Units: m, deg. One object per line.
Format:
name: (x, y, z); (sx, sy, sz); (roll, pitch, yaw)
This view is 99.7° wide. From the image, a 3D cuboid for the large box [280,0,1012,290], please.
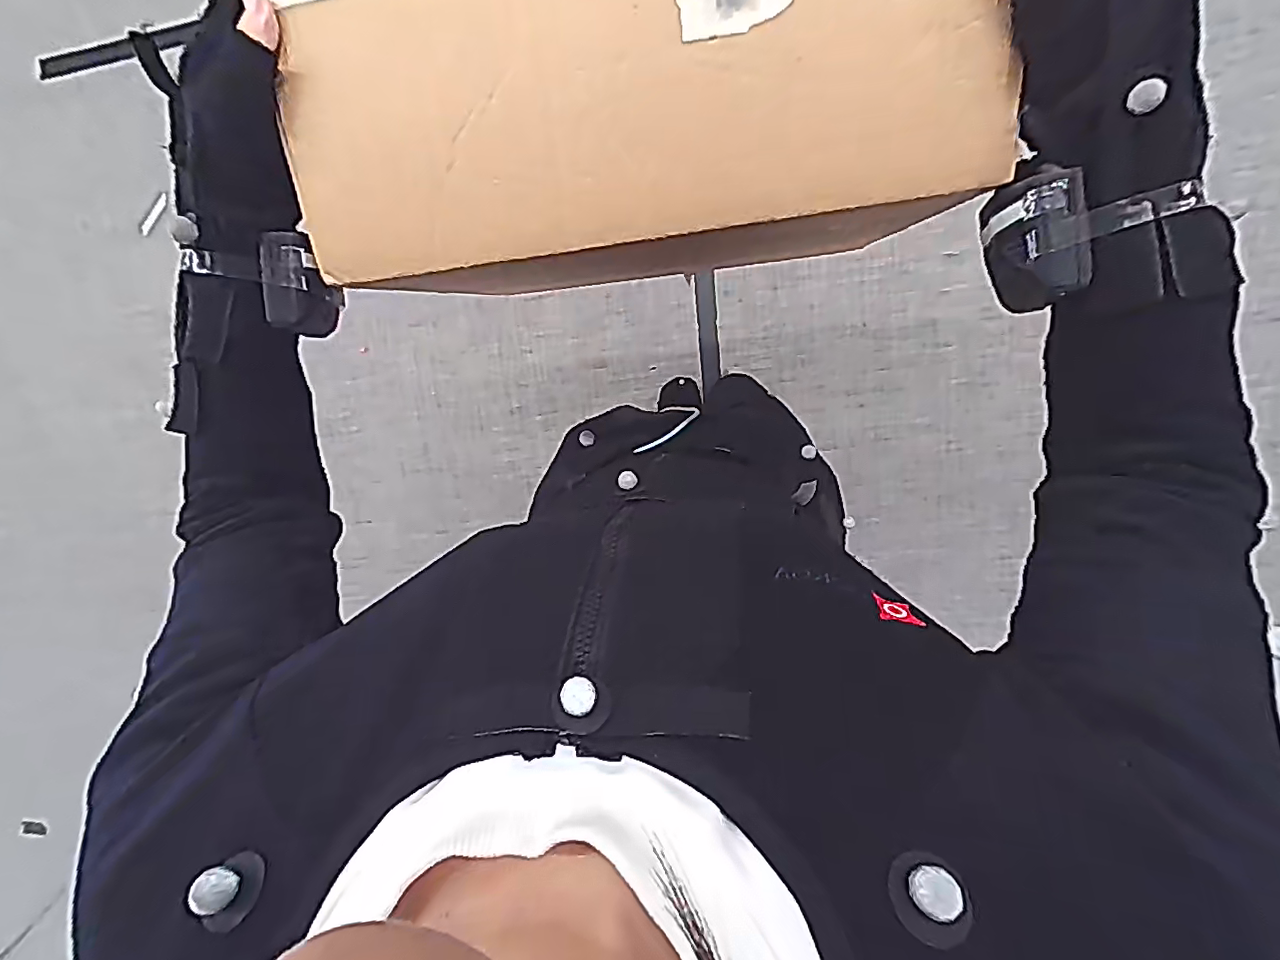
large box: (0.001, -0.344, 0.425); (0.408, 0.320, 0.320); (-5, 107, 9)
